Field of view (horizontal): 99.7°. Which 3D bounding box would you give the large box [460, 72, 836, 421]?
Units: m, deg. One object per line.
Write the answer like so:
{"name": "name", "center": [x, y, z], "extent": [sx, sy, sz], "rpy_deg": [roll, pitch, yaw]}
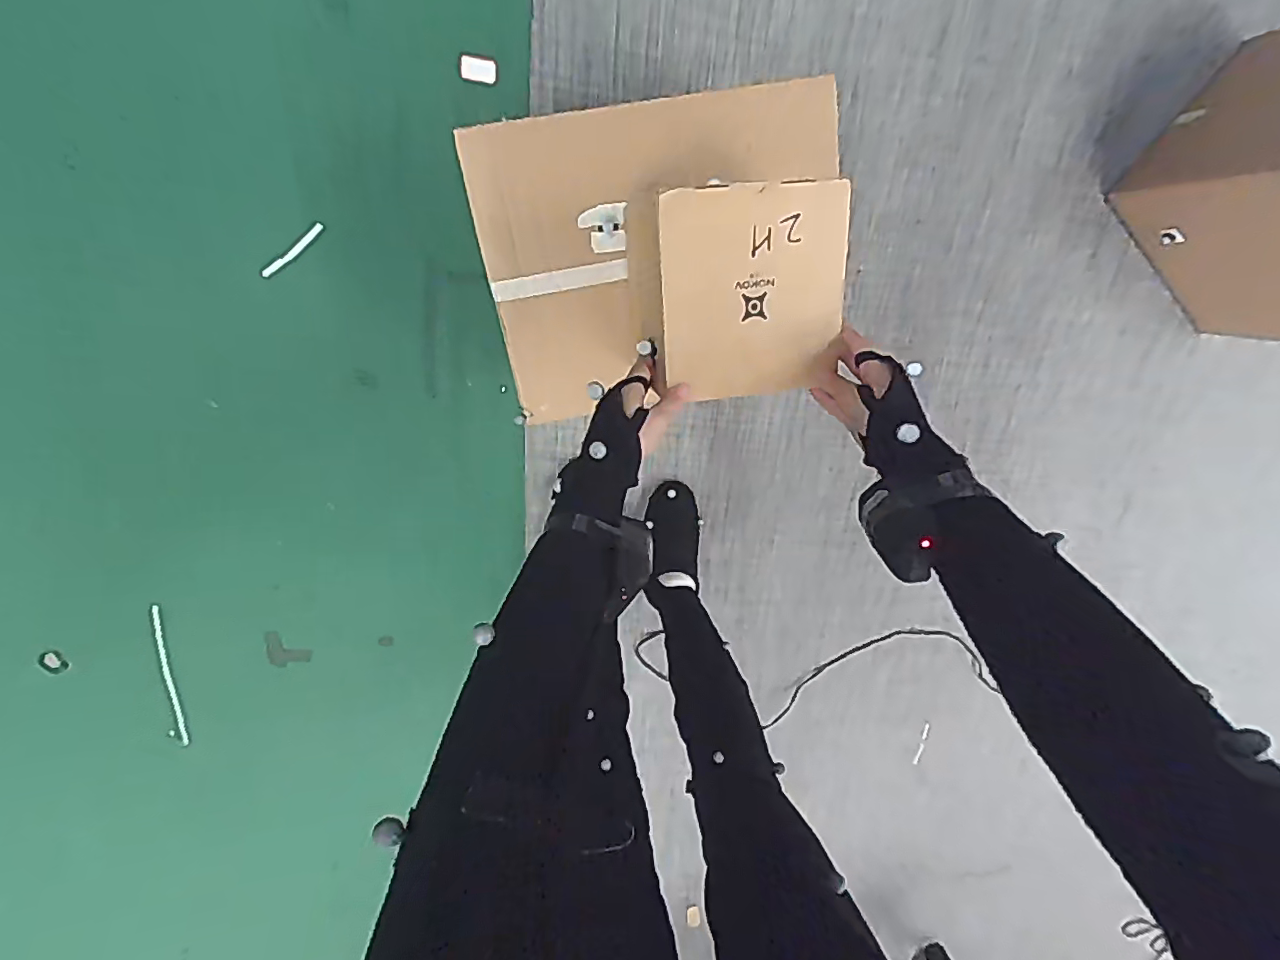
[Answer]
{"name": "large box", "center": [0.016, -0.304, 0.748], "extent": [0.408, 0.320, 0.320], "rpy_deg": [-11, 111, -4]}

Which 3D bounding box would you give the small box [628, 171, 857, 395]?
{"name": "small box", "center": [0.085, -0.193, 0.532], "extent": [0.168, 0.176, 0.179], "rpy_deg": [-7, 112, -10]}
